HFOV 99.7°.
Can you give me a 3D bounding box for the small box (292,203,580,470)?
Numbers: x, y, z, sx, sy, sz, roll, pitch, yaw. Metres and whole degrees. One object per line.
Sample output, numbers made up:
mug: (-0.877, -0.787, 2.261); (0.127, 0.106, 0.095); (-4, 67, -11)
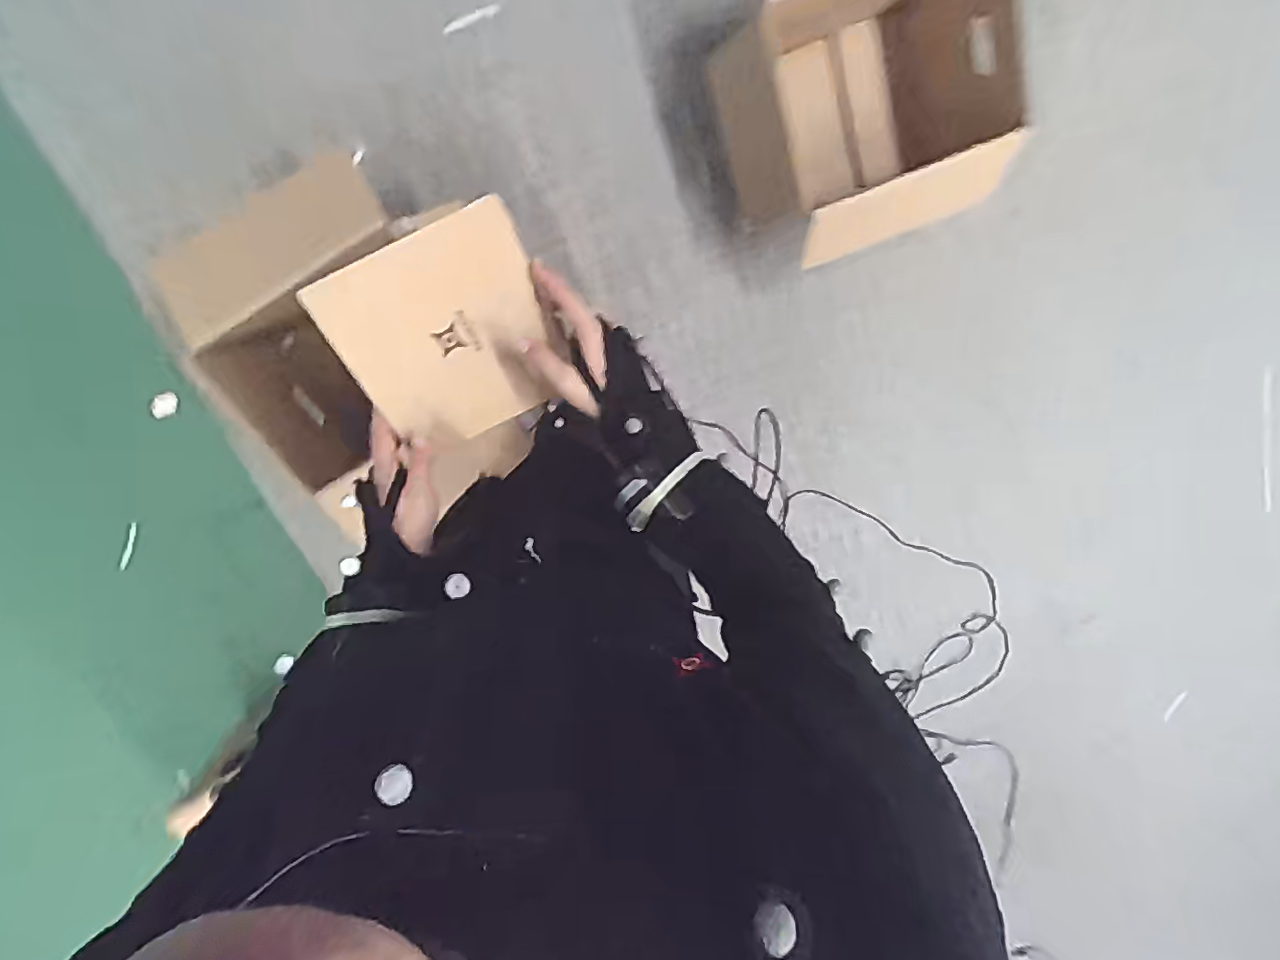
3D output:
small box: (-0.174, -0.137, 0.518); (0.179, 0.176, 0.168); (-26, 113, -3)
